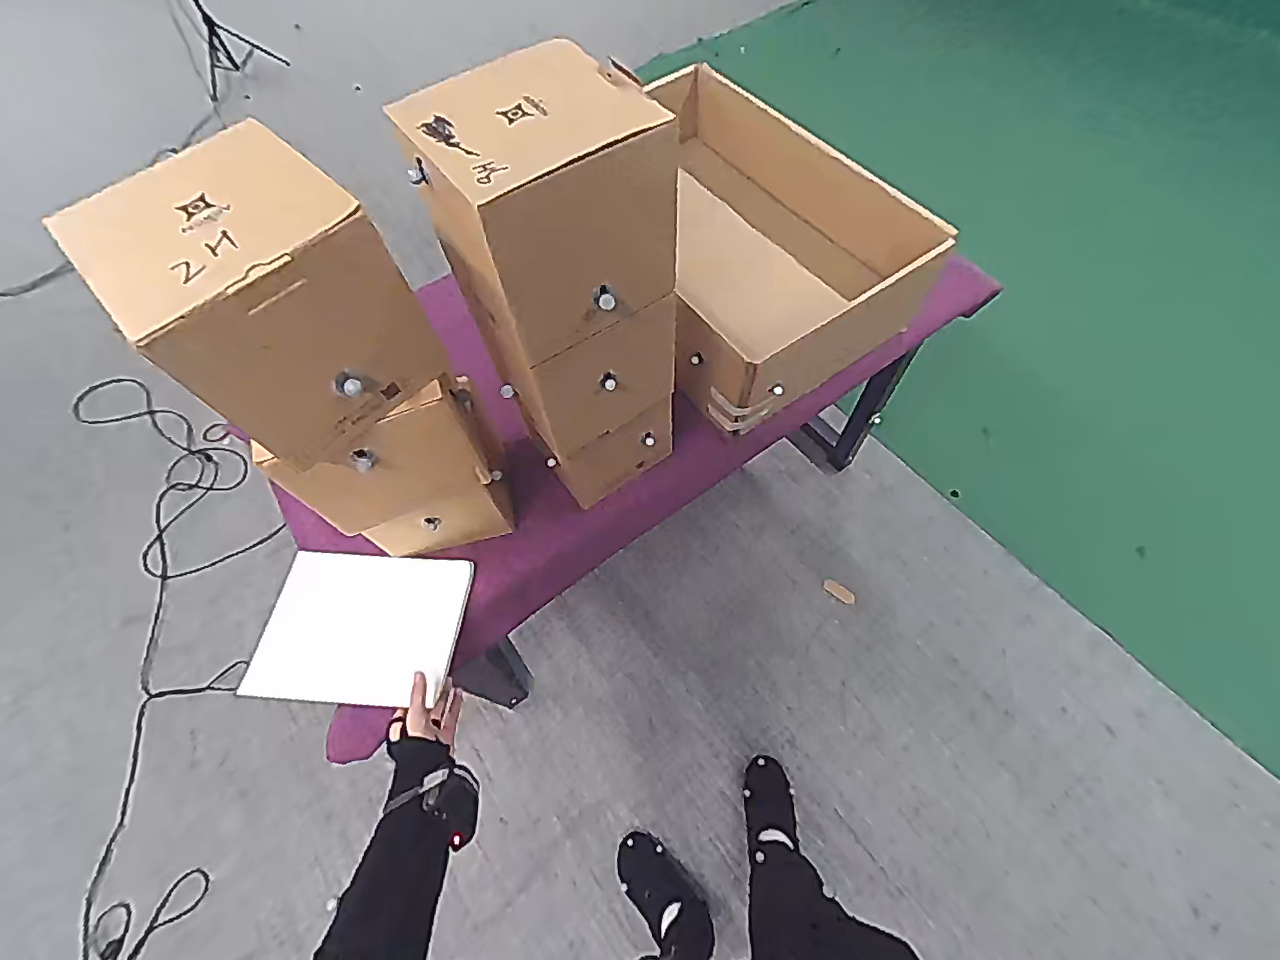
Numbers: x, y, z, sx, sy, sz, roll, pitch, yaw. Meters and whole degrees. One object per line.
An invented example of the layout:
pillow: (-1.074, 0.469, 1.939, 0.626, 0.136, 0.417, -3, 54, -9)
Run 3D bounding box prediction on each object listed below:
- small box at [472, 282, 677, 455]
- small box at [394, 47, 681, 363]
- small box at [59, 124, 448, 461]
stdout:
small box: (-0.075, -0.164, 0.637, 0.179, 0.176, 0.168, -32, 64, -14)
small box: (-0.082, -0.243, 0.493, 0.179, 0.176, 0.168, -32, 63, -15)
small box: (-0.298, -0.148, 0.453, 0.168, 0.176, 0.179, -42, 68, -17)
